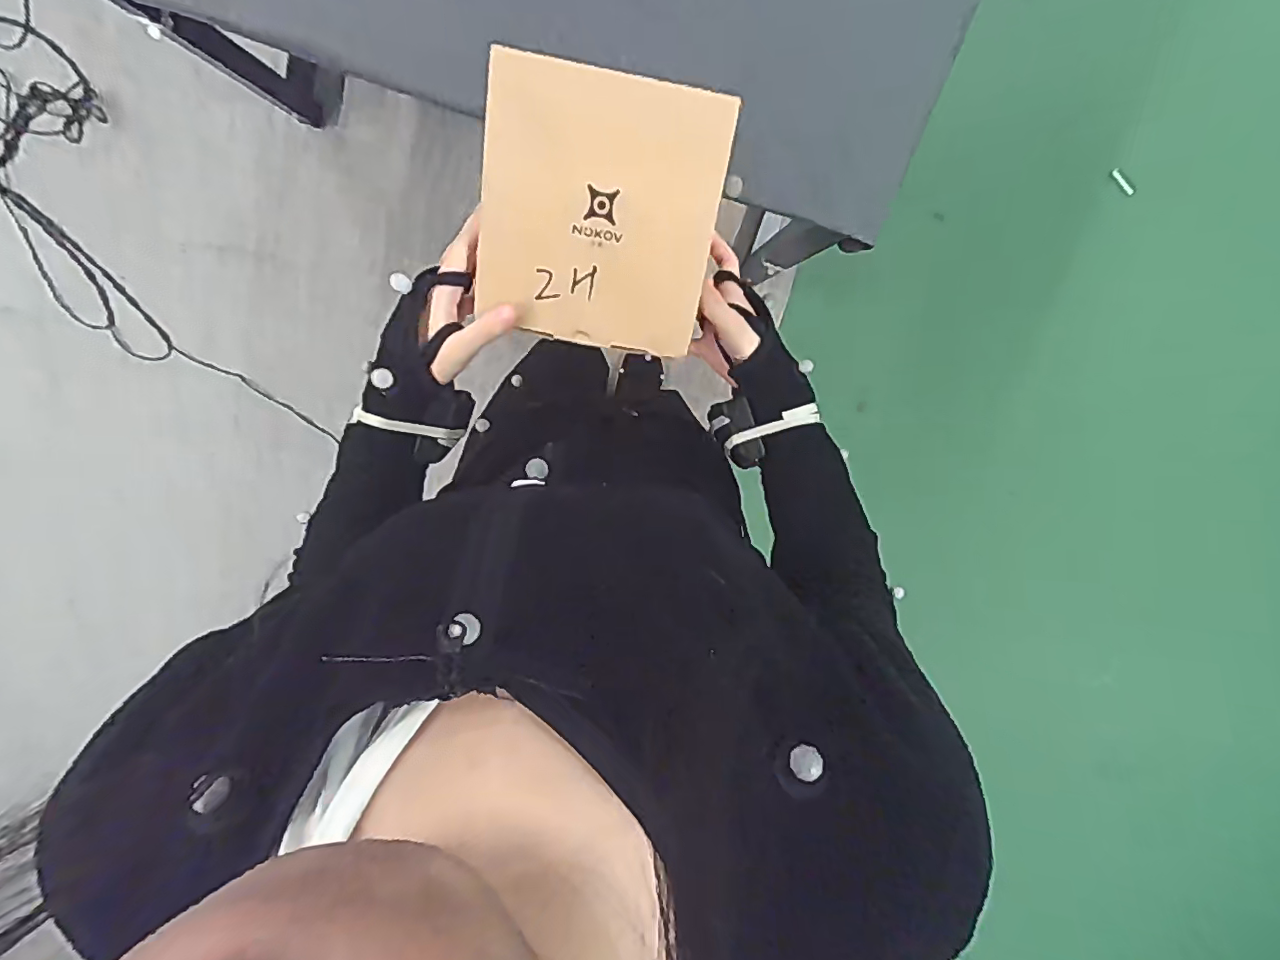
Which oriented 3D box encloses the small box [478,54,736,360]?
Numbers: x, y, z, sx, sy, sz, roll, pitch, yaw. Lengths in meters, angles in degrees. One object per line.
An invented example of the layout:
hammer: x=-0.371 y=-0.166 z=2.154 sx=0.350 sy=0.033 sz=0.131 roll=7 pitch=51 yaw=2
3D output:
small box: x=-0.028 y=-0.214 z=0.462 sx=0.168 sy=0.176 sz=0.179 roll=10 pitch=111 yaw=-2
